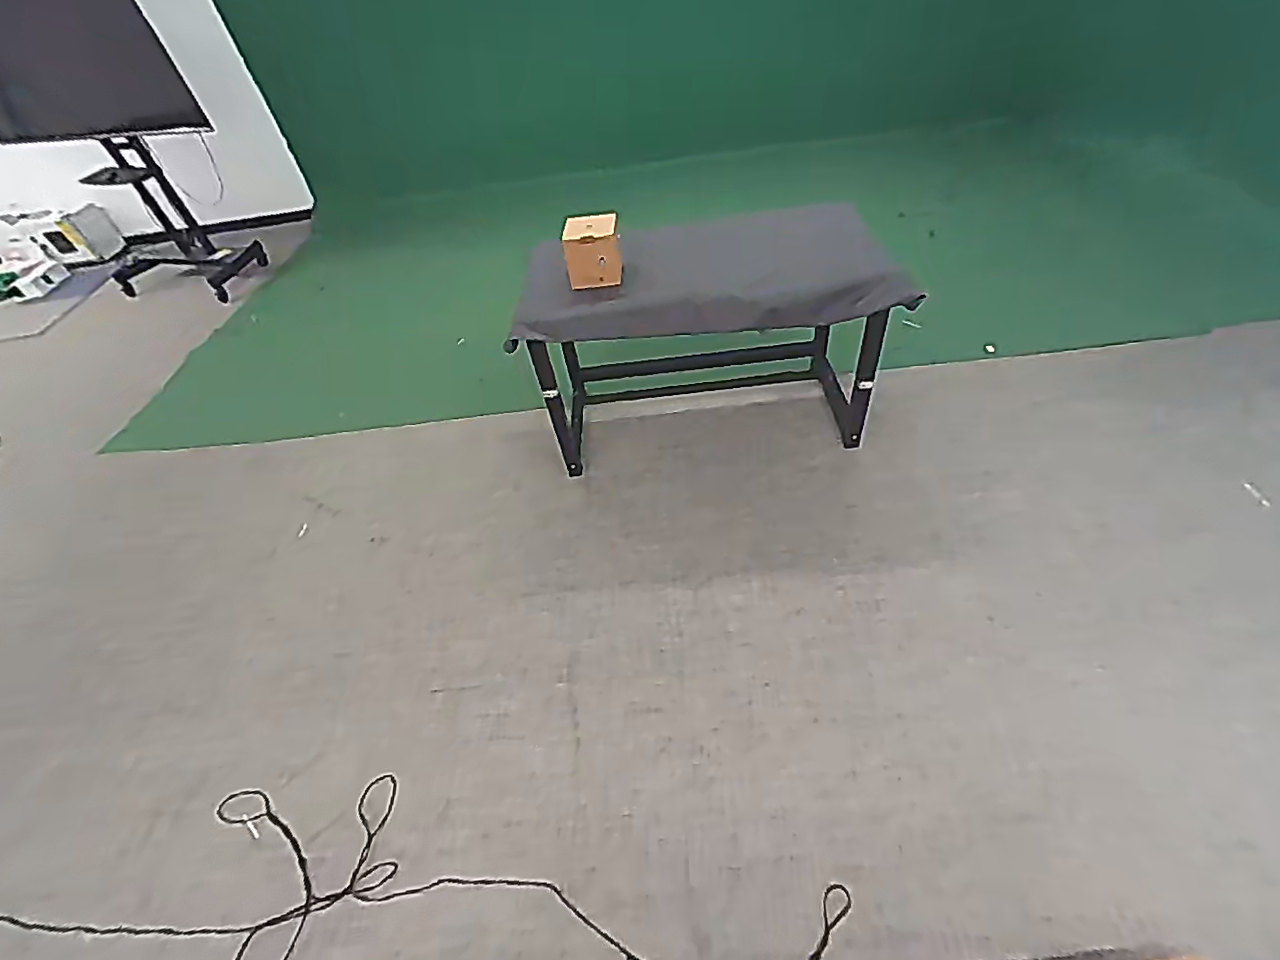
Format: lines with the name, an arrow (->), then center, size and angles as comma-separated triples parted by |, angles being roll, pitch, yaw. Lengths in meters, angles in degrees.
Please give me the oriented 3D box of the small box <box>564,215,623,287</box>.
small box -> -0.148, -0.757, 1.802 | 0.168, 0.176, 0.179 | -3, 46, 4
